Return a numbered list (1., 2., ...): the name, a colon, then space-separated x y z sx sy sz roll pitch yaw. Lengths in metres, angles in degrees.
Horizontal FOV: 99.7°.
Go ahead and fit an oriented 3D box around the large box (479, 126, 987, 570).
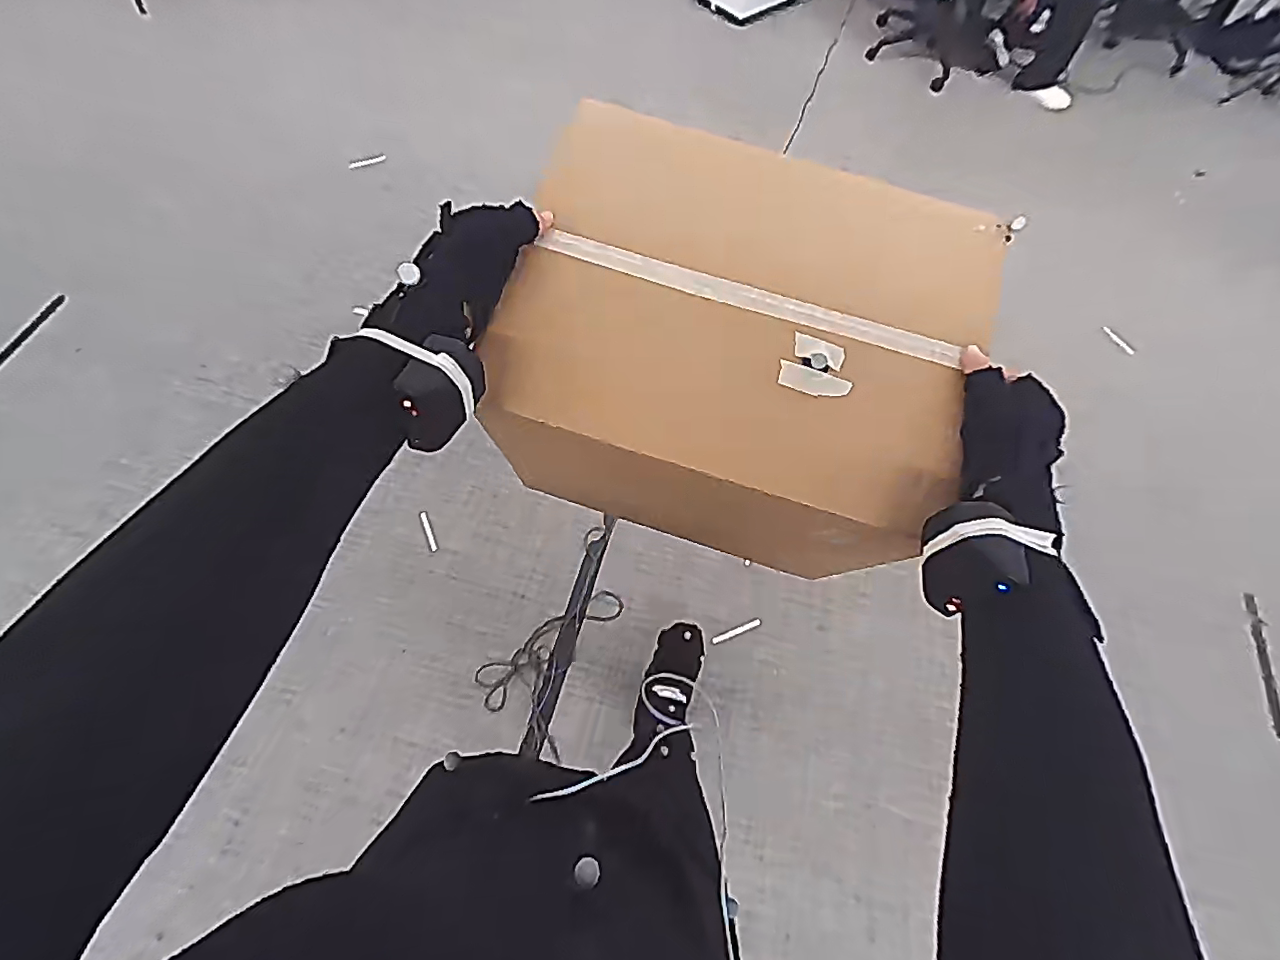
1. large box: 0.088 -0.112 0.622 0.408 0.320 0.320 18 76 2
